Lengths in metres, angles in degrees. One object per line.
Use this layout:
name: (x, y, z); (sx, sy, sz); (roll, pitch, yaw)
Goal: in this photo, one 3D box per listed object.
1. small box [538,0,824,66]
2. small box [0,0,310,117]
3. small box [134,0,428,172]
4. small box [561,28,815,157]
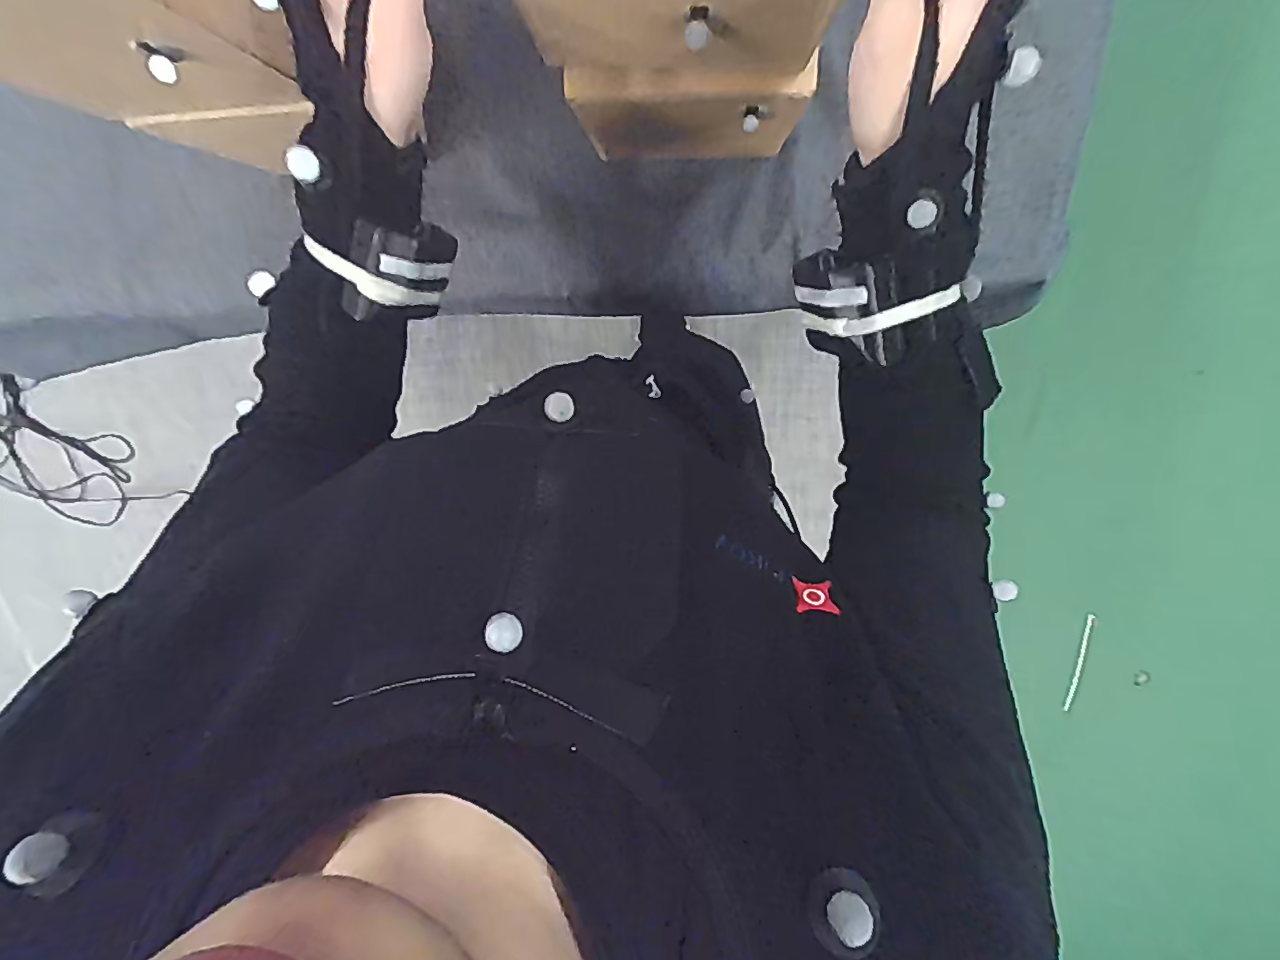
small box: (0.023, -0.335, 0.268); (0.179, 0.176, 0.168); (4, 108, 2)
small box: (-0.317, -0.325, 0.296); (0.179, 0.176, 0.168); (-2, 106, 6)
small box: (-0.300, -0.377, 0.450); (0.168, 0.176, 0.179); (-1, 108, 5)
small box: (0.037, -0.372, 0.431); (0.179, 0.176, 0.168); (0, 107, 3)
